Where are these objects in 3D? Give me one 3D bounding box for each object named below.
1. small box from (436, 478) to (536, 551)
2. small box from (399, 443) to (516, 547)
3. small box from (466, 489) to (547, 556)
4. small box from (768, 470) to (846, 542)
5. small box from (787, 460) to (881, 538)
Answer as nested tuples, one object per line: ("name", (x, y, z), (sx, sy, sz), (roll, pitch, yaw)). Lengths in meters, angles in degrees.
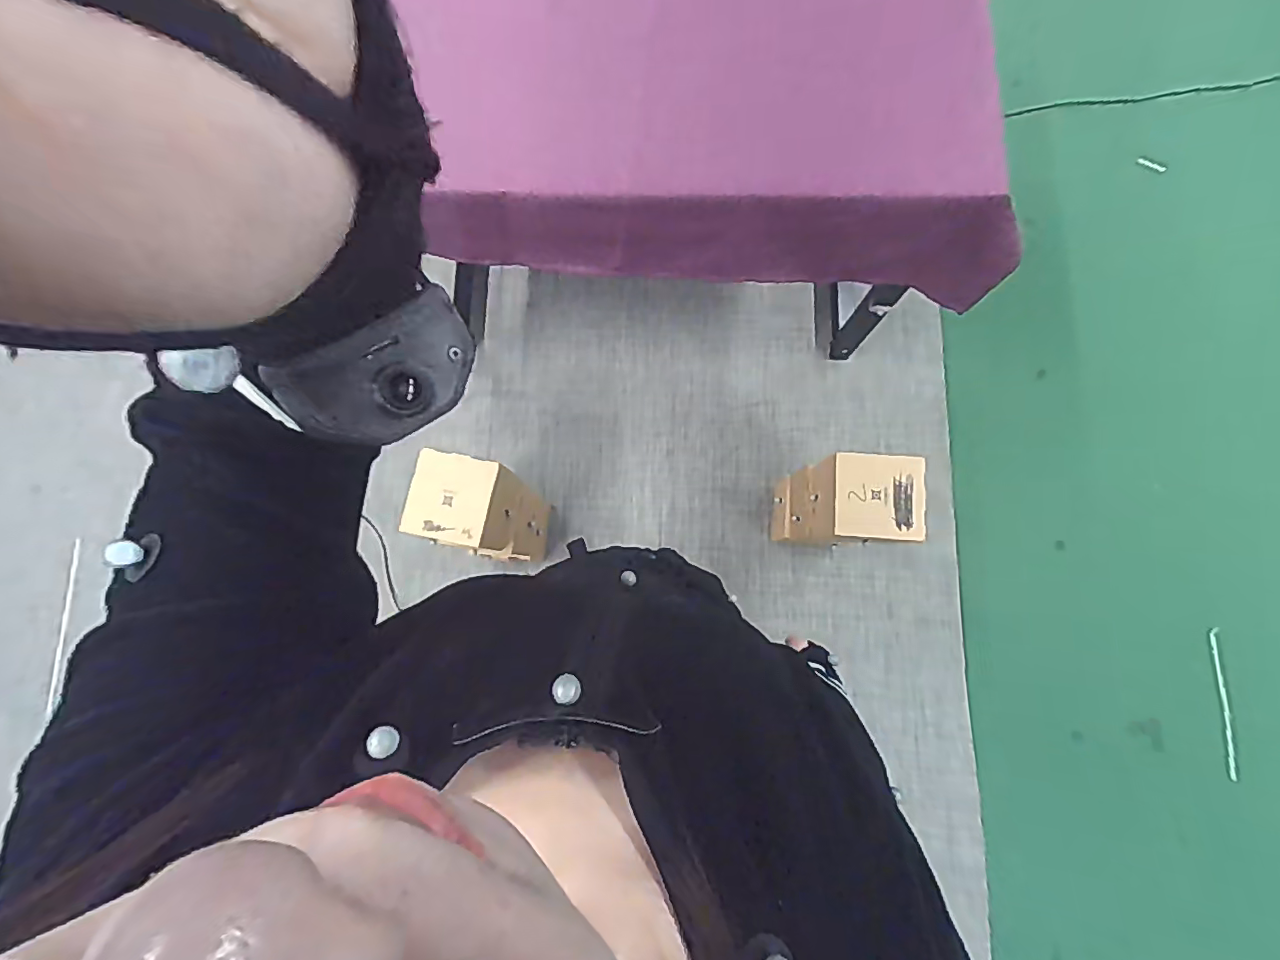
("small box", (-0.365, 0.078, 1.309), (0.179, 0.176, 0.168), (8, 81, 2))
("small box", (-0.375, 0.039, 1.149), (0.168, 0.176, 0.179), (12, 81, 4))
("small box", (-0.354, 0.113, 1.470), (0.168, 0.176, 0.179), (5, 80, 2))
("small box", (0.451, 0.075, 1.459), (0.179, 0.176, 0.168), (6, 81, 1))
("small box", (0.457, 0.051, 1.298), (0.179, 0.176, 0.168), (3, 82, 1))
